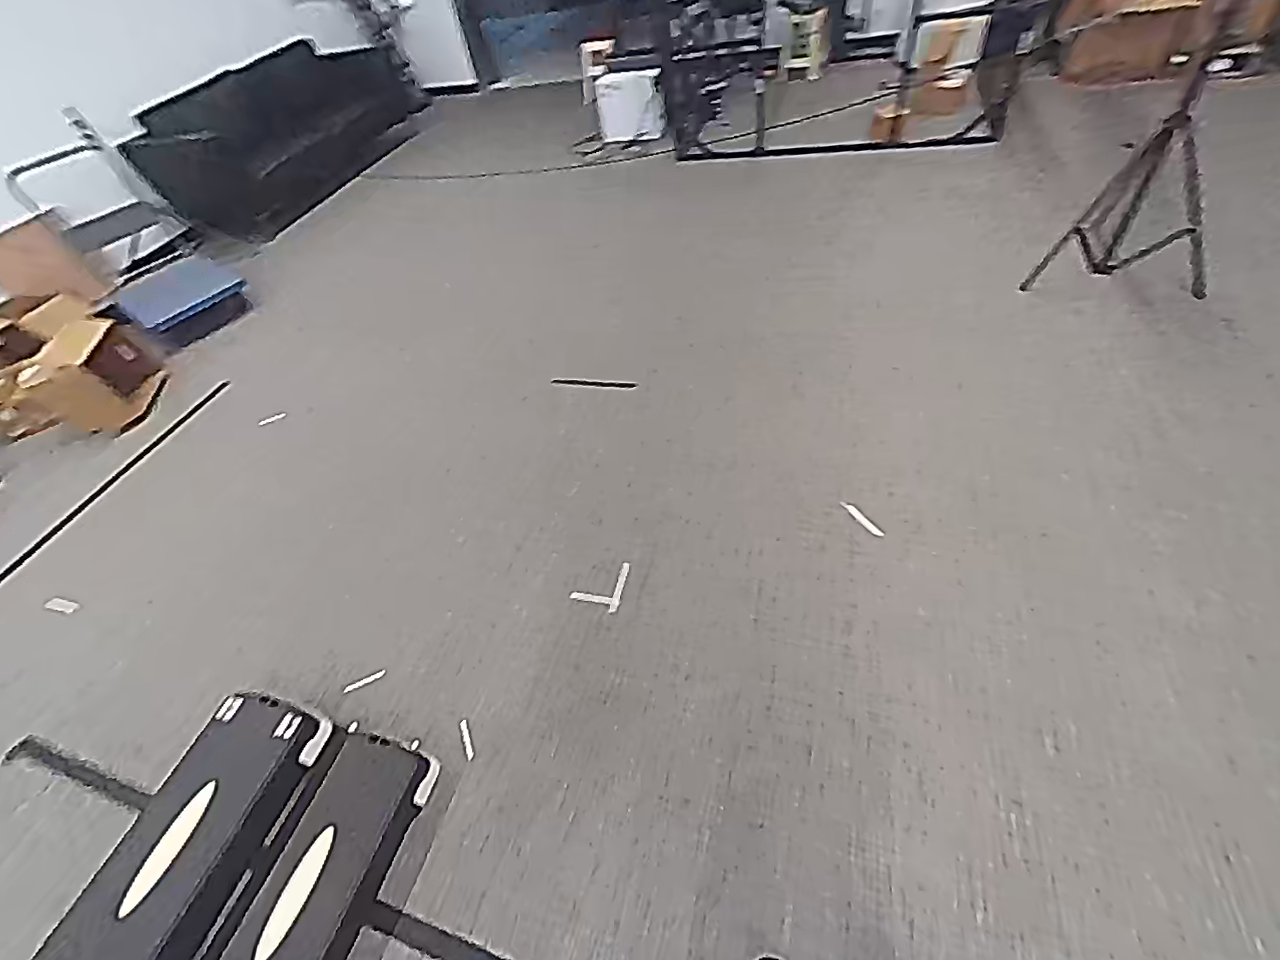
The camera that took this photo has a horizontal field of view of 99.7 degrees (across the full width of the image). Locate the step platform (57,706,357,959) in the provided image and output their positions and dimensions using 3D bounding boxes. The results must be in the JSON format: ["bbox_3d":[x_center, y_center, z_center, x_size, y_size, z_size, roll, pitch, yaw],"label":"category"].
[{"bbox_3d":[-0.995,0.898,1.256,0.286,0.204,0.684,7,50,17],"label":"step platform"}]
